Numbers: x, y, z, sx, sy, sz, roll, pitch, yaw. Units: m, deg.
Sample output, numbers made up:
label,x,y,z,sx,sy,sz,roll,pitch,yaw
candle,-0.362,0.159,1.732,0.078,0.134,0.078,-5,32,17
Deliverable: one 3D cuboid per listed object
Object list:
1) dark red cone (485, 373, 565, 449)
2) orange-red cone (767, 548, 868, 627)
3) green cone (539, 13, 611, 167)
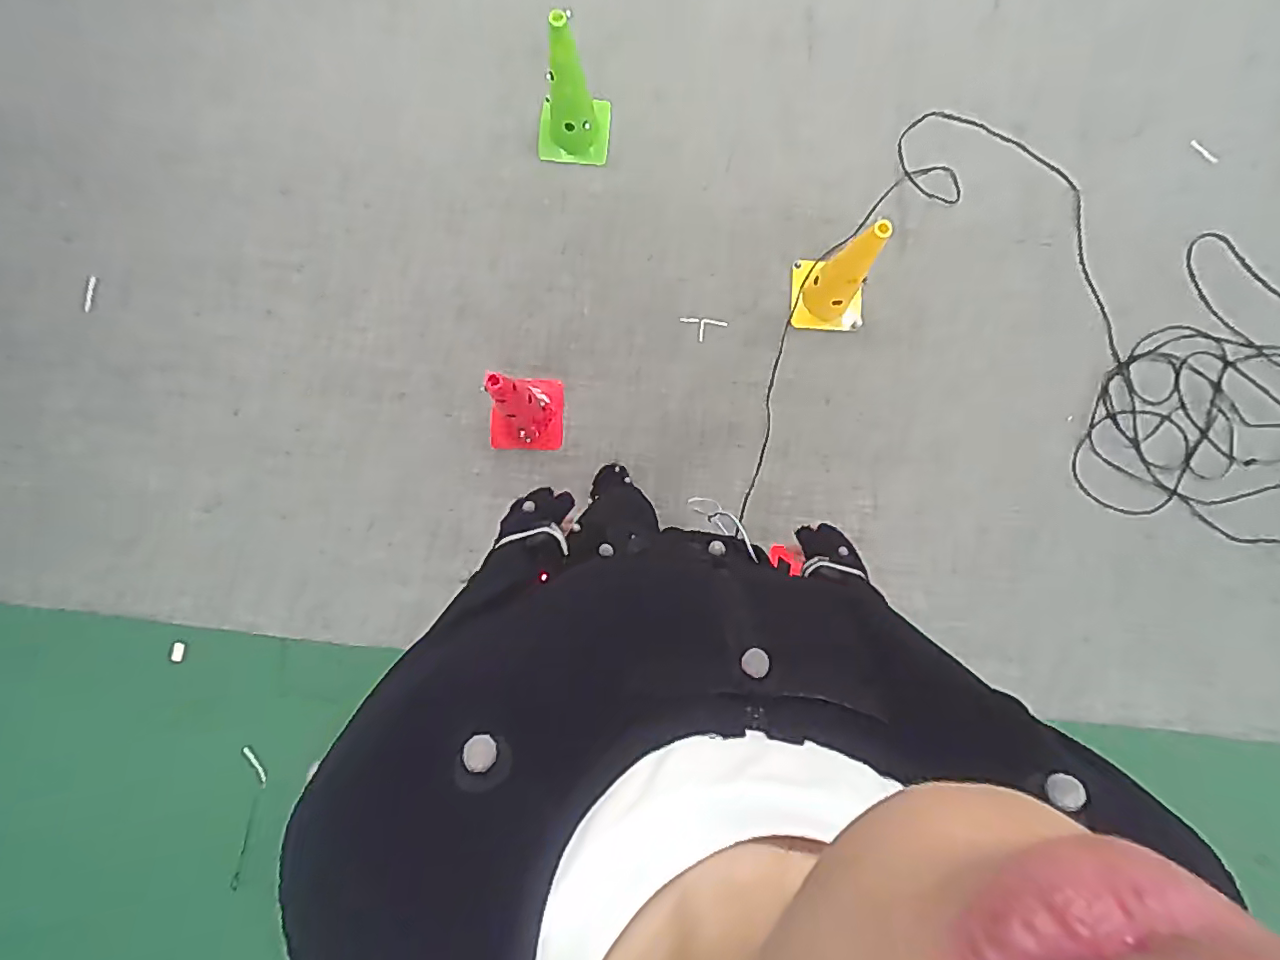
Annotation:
label,x,y,z,sx,sy,sz,roll,pitch,yaw
dark red cone,-0.307,-0.194,1.313,0.202,0.394,0.201,1,87,0
orange-red cone,0.453,0.275,1.299,0.198,0.360,0.199,7,84,0
green cone,-0.186,-1.027,1.407,0.202,0.368,0.200,4,86,-1
